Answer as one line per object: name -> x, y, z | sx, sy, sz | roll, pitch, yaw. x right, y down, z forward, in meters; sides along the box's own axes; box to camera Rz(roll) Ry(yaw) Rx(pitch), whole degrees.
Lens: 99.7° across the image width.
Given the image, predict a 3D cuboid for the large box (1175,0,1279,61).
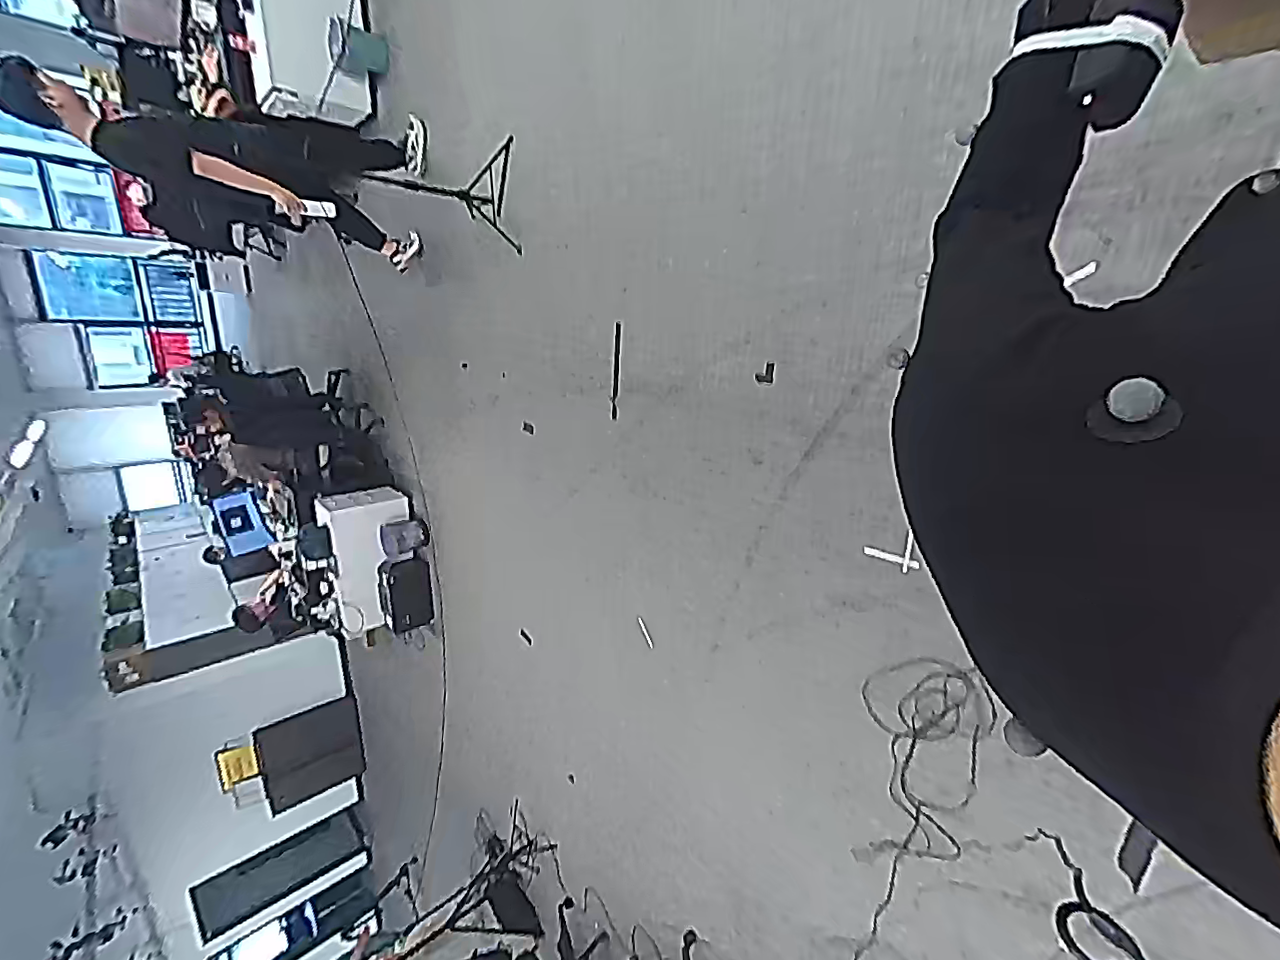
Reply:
large box -> 0.574, -0.478, 0.261 | 0.408, 0.320, 0.320 | 19, 120, 44
